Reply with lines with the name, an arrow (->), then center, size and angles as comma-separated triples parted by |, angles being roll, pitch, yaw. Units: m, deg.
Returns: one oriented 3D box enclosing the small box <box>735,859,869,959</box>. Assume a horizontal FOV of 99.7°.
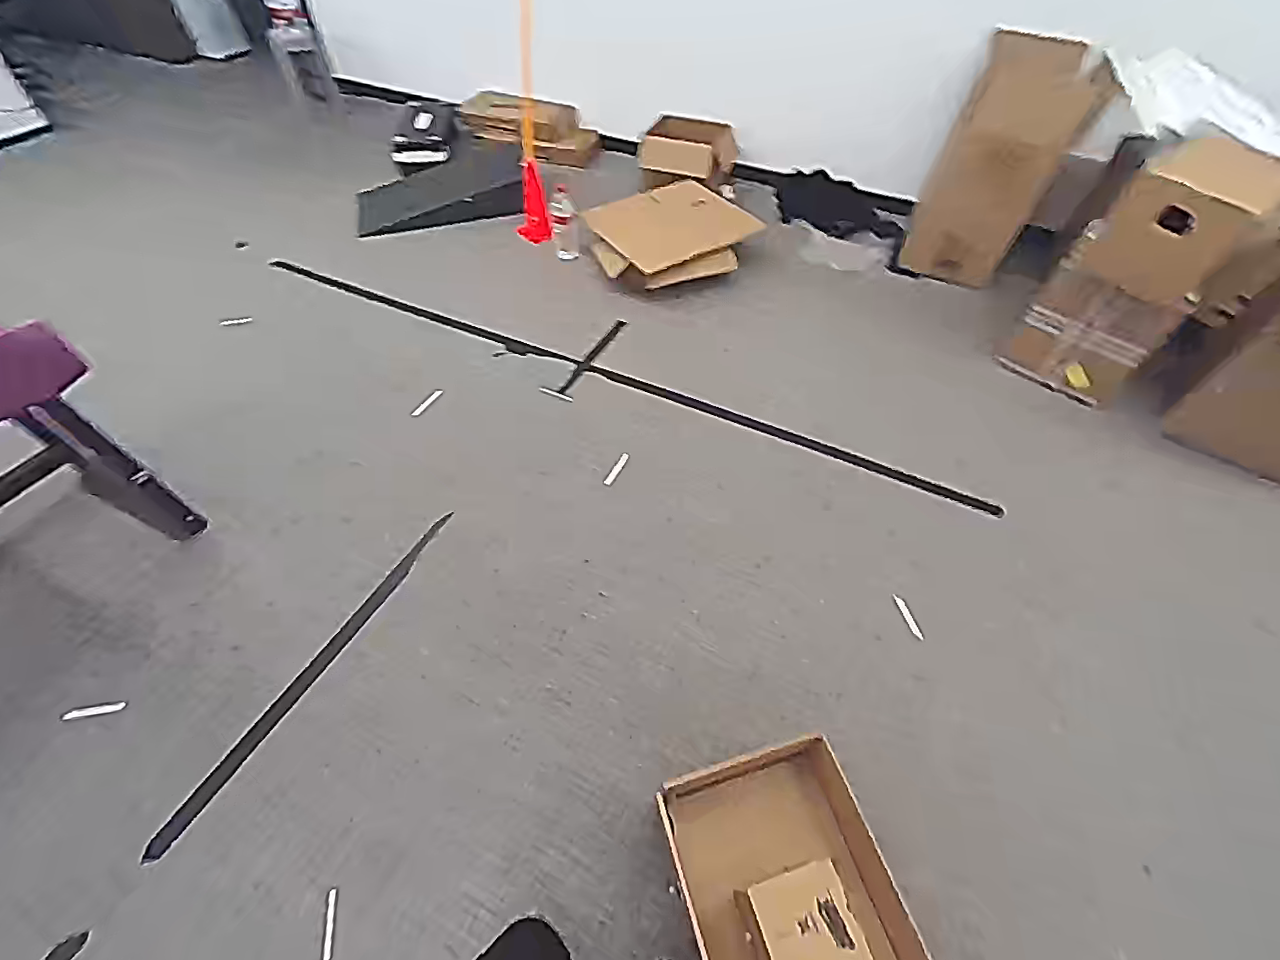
small box -> 0.302, 0.862, 1.051 | 0.179, 0.176, 0.168 | -14, 54, -10
